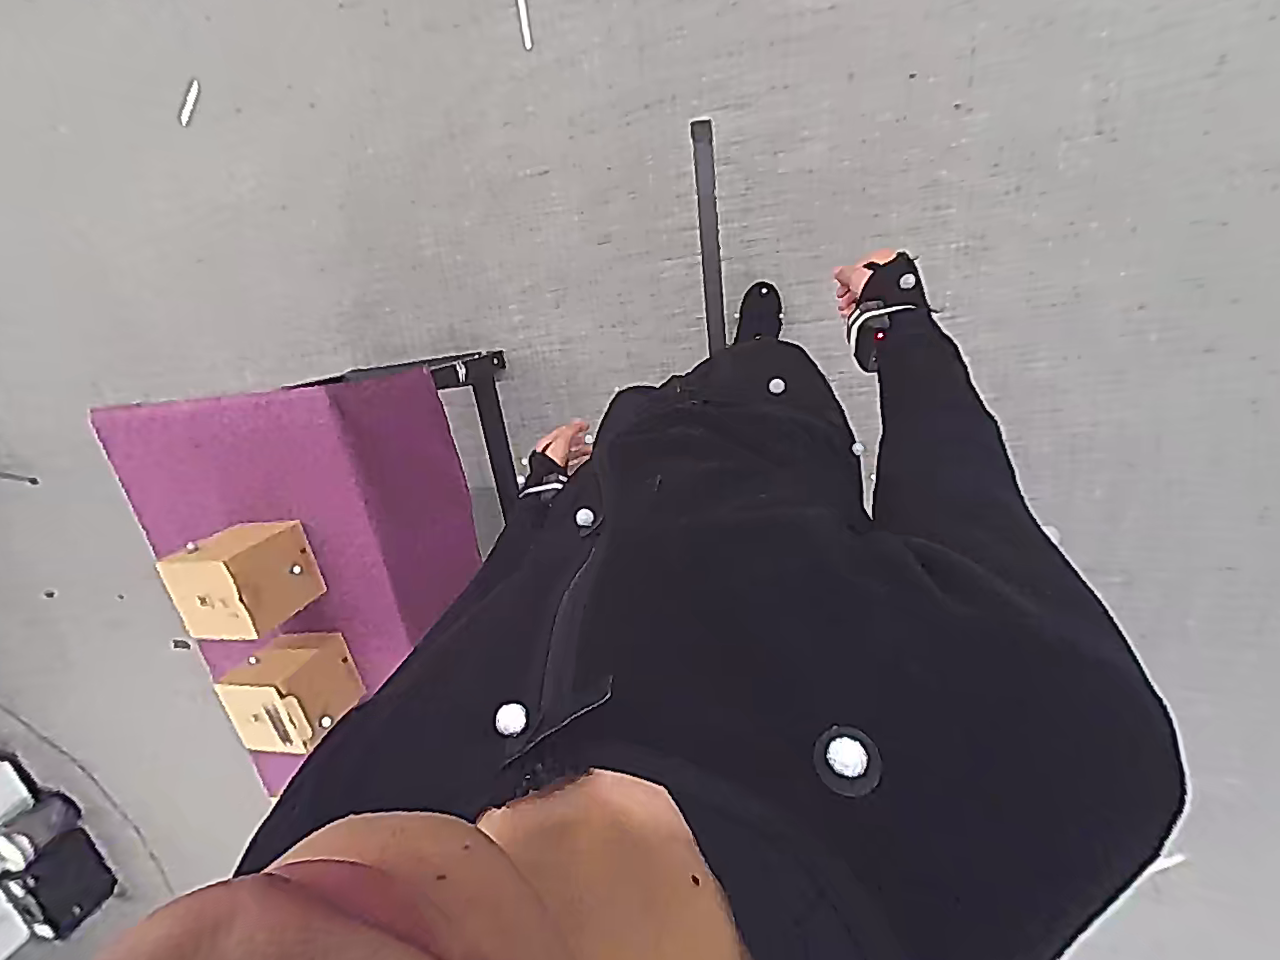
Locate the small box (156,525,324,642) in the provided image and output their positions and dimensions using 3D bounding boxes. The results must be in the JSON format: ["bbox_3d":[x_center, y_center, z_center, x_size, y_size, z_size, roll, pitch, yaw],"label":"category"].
[{"bbox_3d":[-0.772,0.199,1.062,0.179,0.176,0.168,-5,109,15],"label":"small box"}]

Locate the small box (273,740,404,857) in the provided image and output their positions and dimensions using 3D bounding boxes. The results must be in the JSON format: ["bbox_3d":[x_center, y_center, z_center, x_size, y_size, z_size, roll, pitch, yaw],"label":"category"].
[{"bbox_3d":[-0.672,0.720,1.234,0.179,0.176,0.168,-13,106,18],"label":"small box"}]
